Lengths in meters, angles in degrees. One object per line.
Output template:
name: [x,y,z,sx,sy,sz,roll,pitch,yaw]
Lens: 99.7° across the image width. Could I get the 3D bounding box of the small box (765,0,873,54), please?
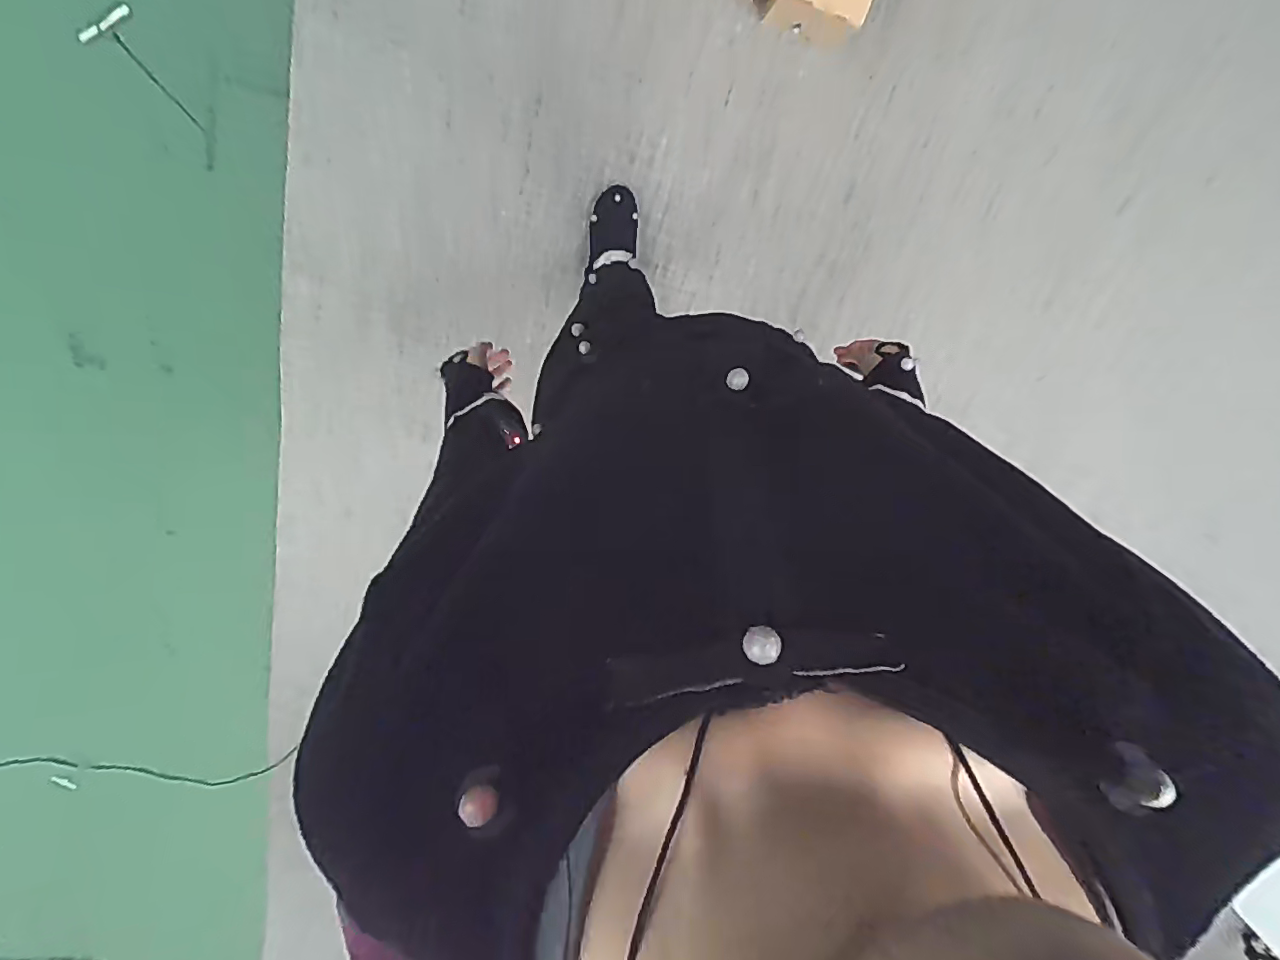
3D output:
small box: [0.363,-0.978,1.050,0.168,0.176,0.179,14,114,-10]
